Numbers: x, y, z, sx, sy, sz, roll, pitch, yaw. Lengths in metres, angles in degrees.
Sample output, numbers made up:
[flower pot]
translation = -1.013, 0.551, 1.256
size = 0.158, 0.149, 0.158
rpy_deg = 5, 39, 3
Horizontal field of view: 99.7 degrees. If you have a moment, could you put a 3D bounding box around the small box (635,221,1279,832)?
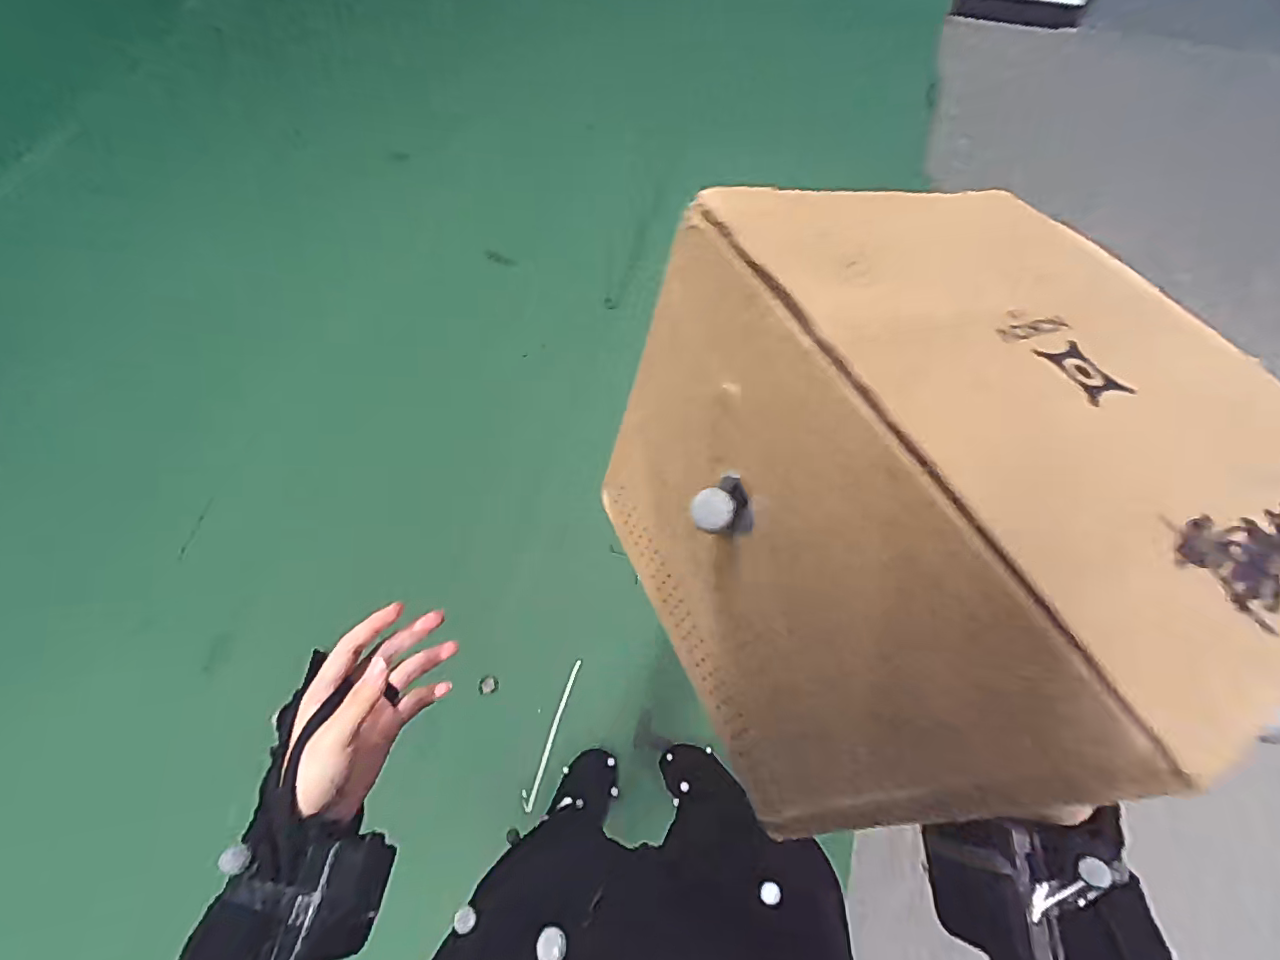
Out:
[small box]
translation = 0.114, 0.017, 0.230
size = 0.168, 0.176, 0.179
rpy_deg = -15, 60, -25
